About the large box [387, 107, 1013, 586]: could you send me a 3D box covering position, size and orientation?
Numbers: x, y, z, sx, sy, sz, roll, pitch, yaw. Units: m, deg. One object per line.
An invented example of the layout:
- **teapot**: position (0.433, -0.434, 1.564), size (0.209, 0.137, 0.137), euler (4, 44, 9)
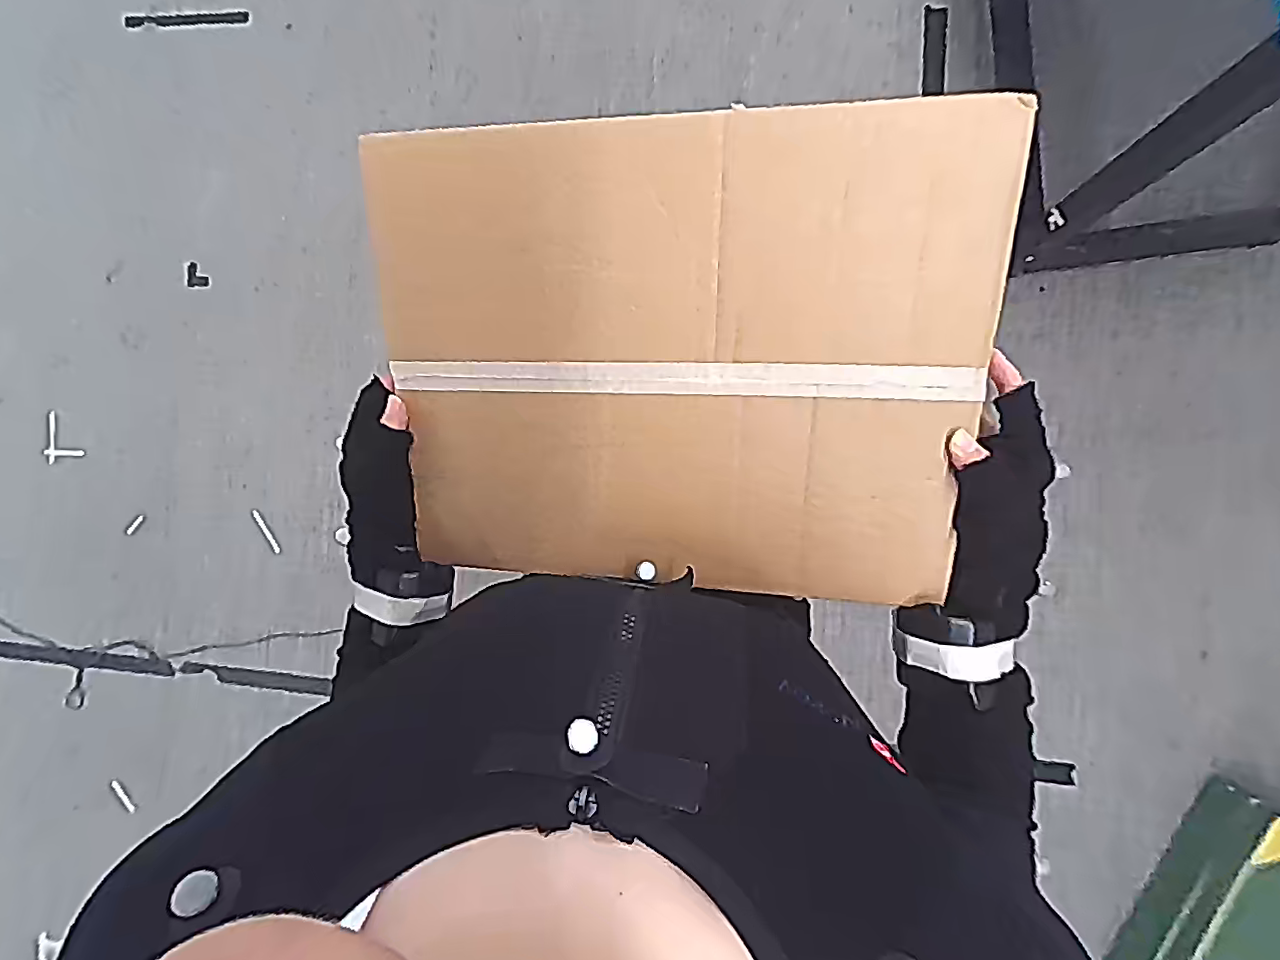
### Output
- **large box**: position (0.044, -0.120, 0.524), size (0.408, 0.320, 0.320), euler (3, 110, 10)
